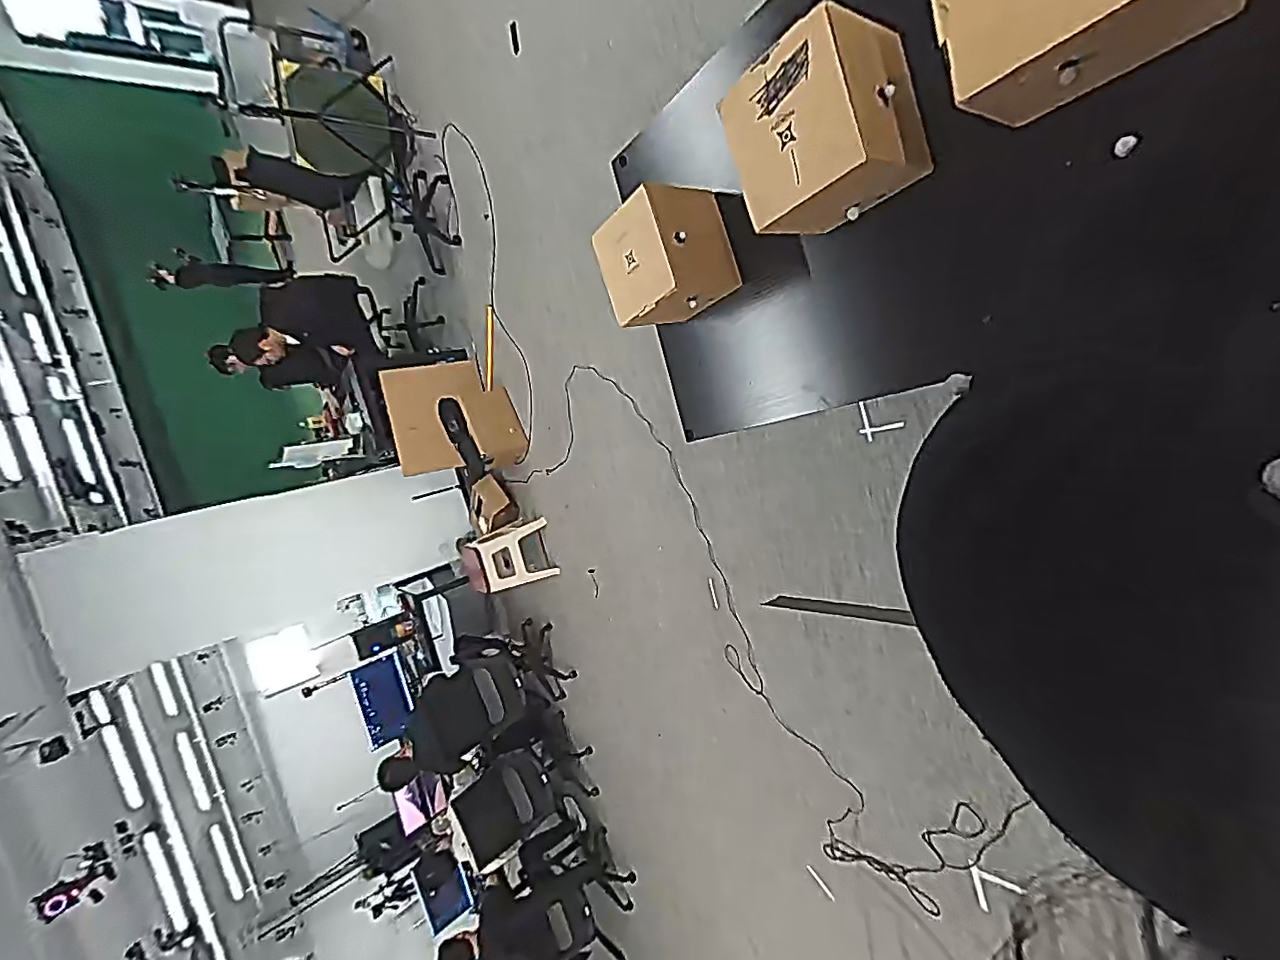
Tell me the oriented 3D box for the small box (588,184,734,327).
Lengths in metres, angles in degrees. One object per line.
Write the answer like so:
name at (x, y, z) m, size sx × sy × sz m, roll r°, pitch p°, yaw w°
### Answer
small box at (0.039, -0.390, 0.954) m, size 0.168 × 0.176 × 0.179 m, roll -16°, pitch 91°, yaw 52°

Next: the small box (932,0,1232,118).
small box at (0.385, -0.457, 0.478) m, size 0.179 × 0.176 × 0.168 m, roll -7°, pitch 100°, yaw 54°

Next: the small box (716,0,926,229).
small box at (0.230, -0.439, 0.685) m, size 0.168 × 0.176 × 0.179 m, roll -12°, pitch 97°, yaw 54°
